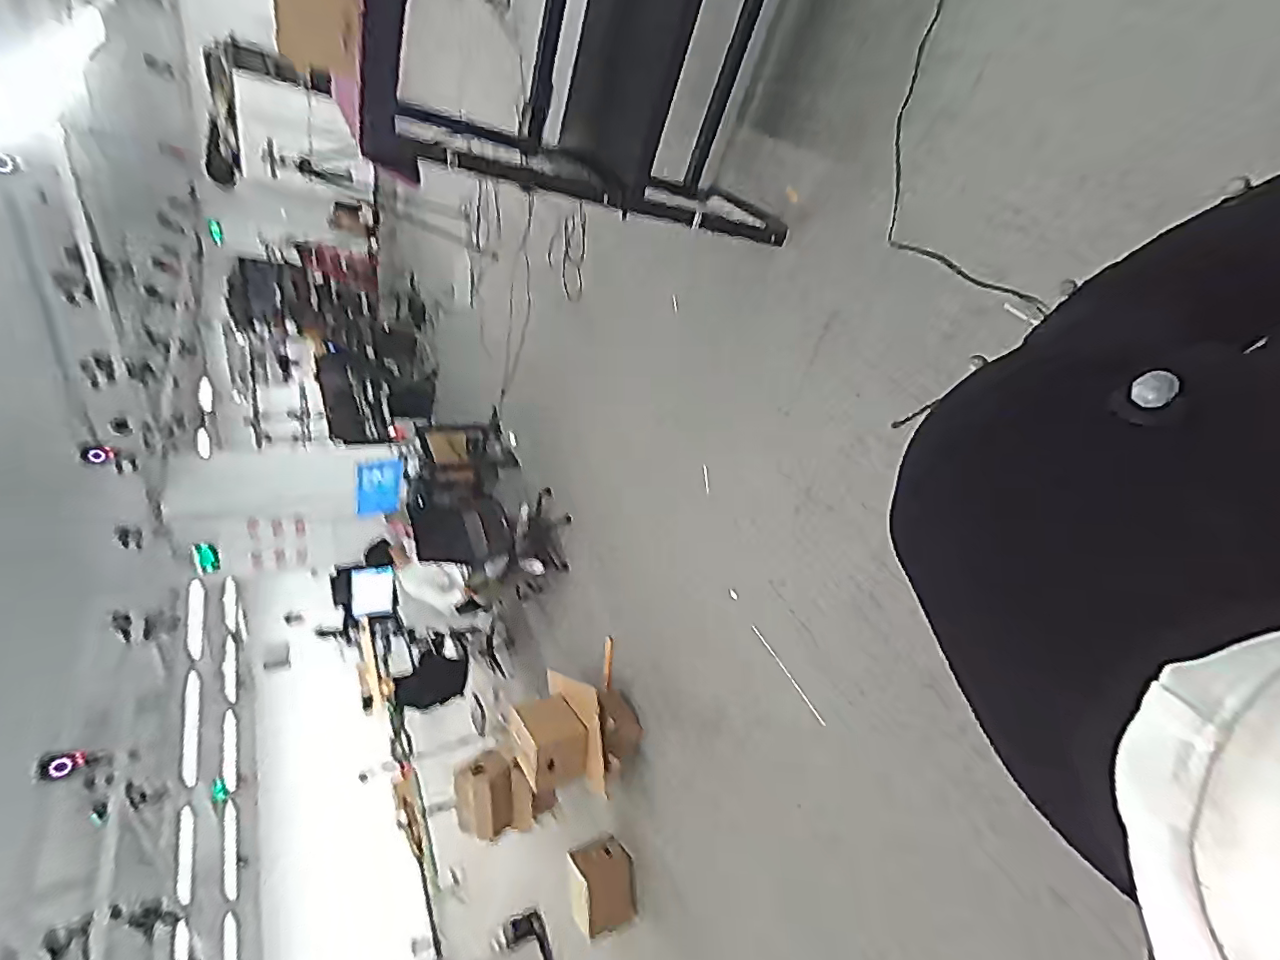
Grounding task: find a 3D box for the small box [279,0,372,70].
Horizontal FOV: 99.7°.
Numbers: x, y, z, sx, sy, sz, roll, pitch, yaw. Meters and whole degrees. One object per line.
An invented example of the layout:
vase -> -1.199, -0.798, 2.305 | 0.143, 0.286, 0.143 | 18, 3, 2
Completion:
small box -> -0.713, -1.060, 1.219 | 0.179, 0.176, 0.168 | 55, 136, 39
